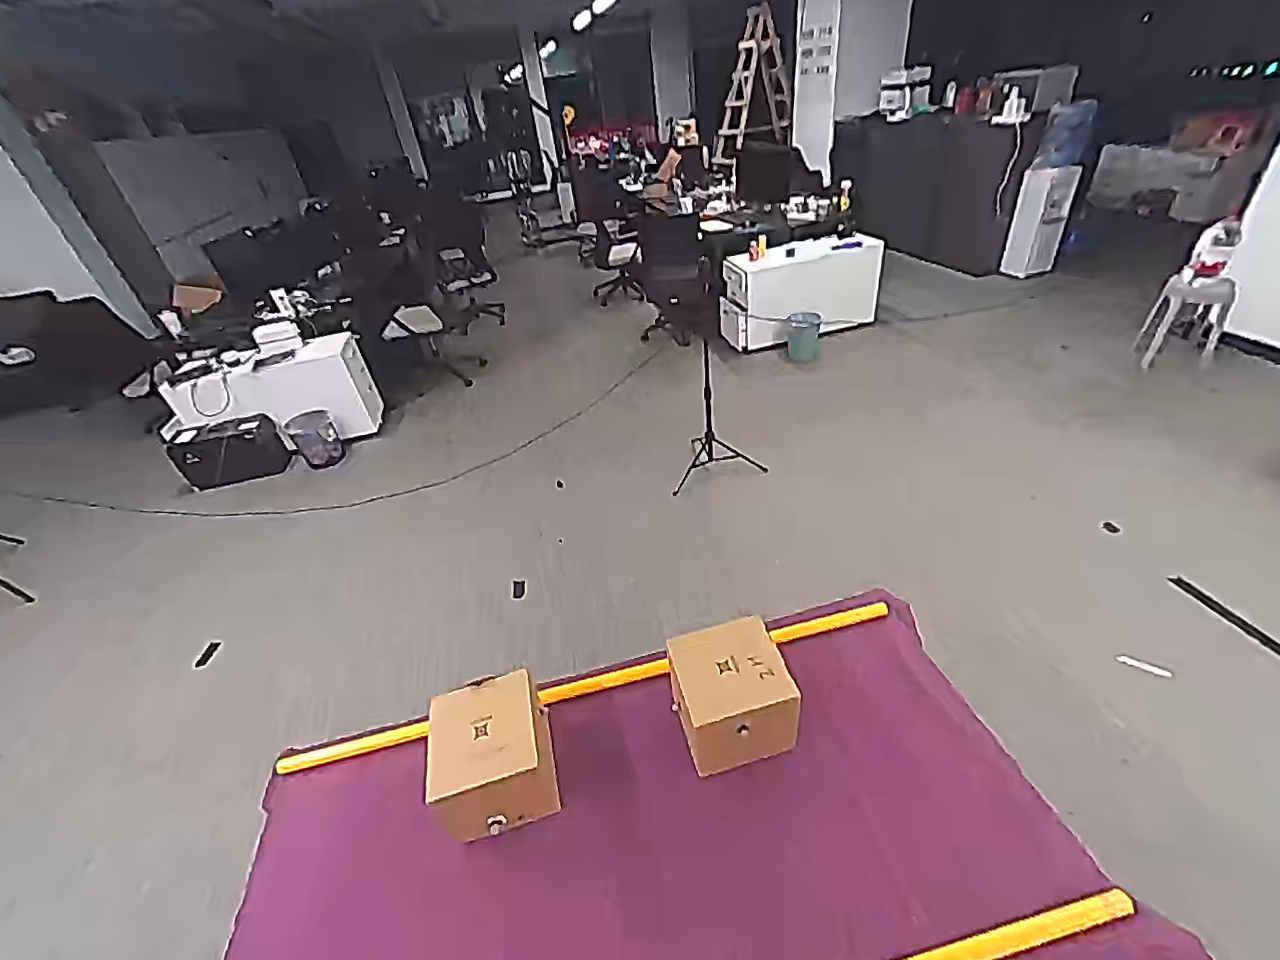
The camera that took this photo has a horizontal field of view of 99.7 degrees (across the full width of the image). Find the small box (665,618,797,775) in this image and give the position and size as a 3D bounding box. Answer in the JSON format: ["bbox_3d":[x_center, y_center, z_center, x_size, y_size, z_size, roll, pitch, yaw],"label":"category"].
[{"bbox_3d":[0.153,0.372,0.926,0.179,0.176,0.168,-13,37,-6],"label":"small box"}]

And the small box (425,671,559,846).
[{"bbox_3d":[-0.239,0.456,0.890,0.168,0.176,0.179,-15,37,-8],"label":"small box"}]
